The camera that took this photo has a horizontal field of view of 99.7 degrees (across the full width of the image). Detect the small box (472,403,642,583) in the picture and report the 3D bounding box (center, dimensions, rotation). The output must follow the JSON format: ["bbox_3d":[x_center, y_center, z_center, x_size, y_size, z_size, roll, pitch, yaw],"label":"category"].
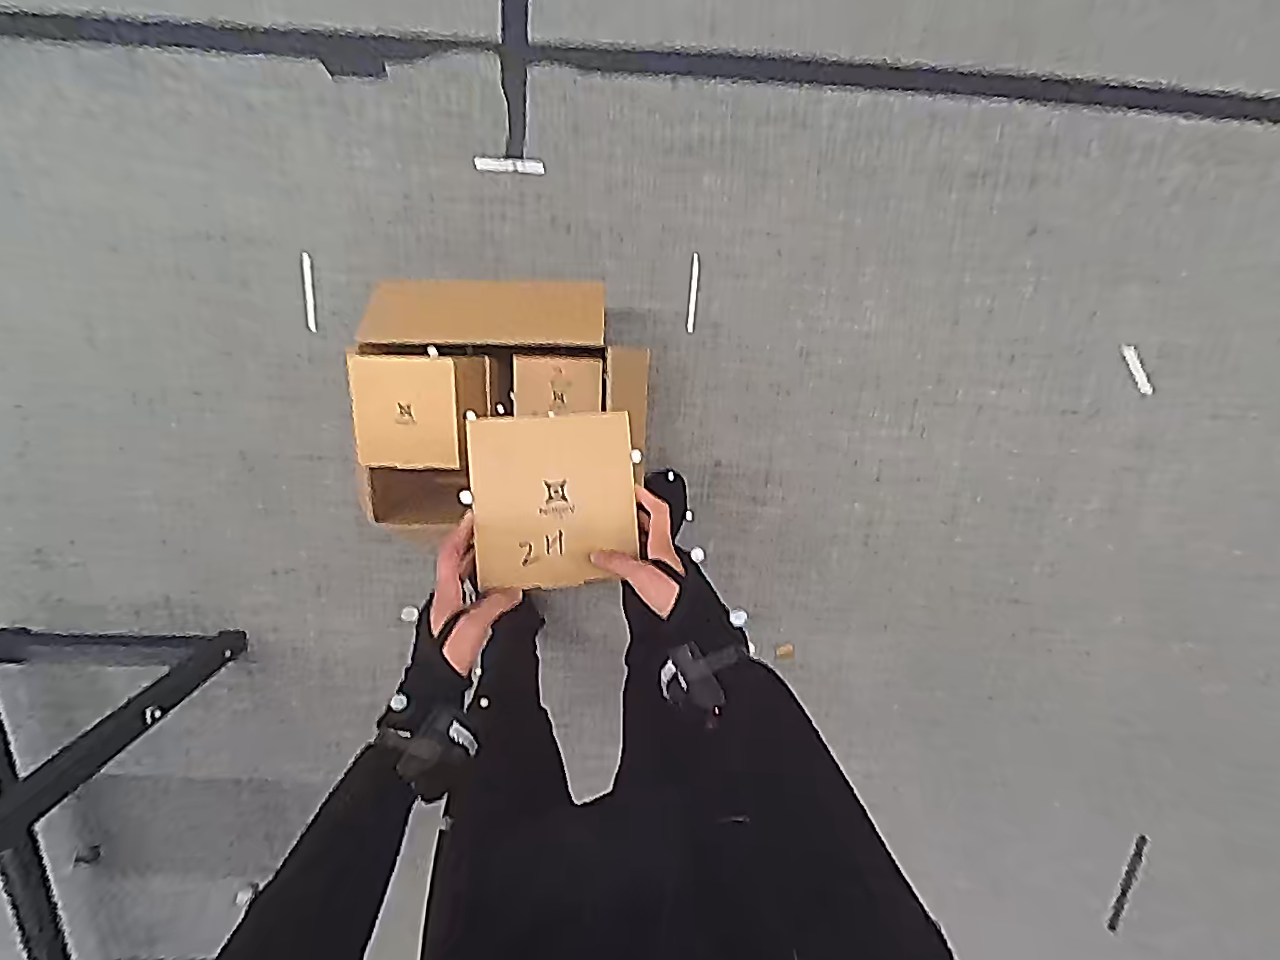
[{"bbox_3d":[-0.097,0.014,0.623,0.168,0.176,0.179,-4,89,-10],"label":"small box"}]
